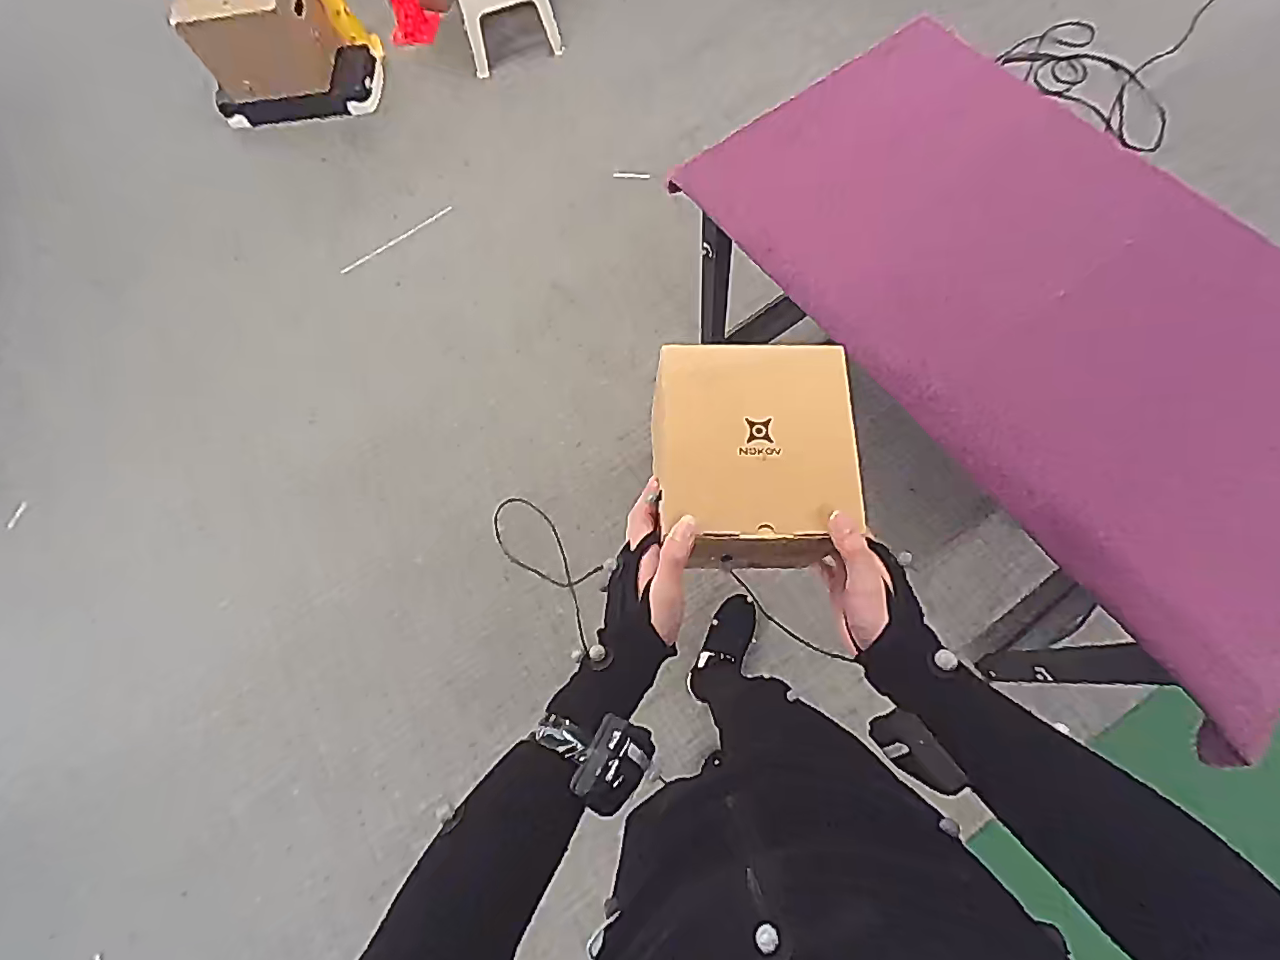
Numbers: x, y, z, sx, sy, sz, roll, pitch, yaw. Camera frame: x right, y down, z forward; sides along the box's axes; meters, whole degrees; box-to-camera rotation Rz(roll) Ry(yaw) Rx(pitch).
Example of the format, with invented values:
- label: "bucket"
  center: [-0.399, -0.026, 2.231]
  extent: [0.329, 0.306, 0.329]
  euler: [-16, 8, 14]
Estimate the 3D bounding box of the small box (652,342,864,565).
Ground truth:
- label: "small box"
  center: [0.099, -0.016, 0.537]
  extent: [0.168, 0.176, 0.179]
  euler: [1, 74, -2]
